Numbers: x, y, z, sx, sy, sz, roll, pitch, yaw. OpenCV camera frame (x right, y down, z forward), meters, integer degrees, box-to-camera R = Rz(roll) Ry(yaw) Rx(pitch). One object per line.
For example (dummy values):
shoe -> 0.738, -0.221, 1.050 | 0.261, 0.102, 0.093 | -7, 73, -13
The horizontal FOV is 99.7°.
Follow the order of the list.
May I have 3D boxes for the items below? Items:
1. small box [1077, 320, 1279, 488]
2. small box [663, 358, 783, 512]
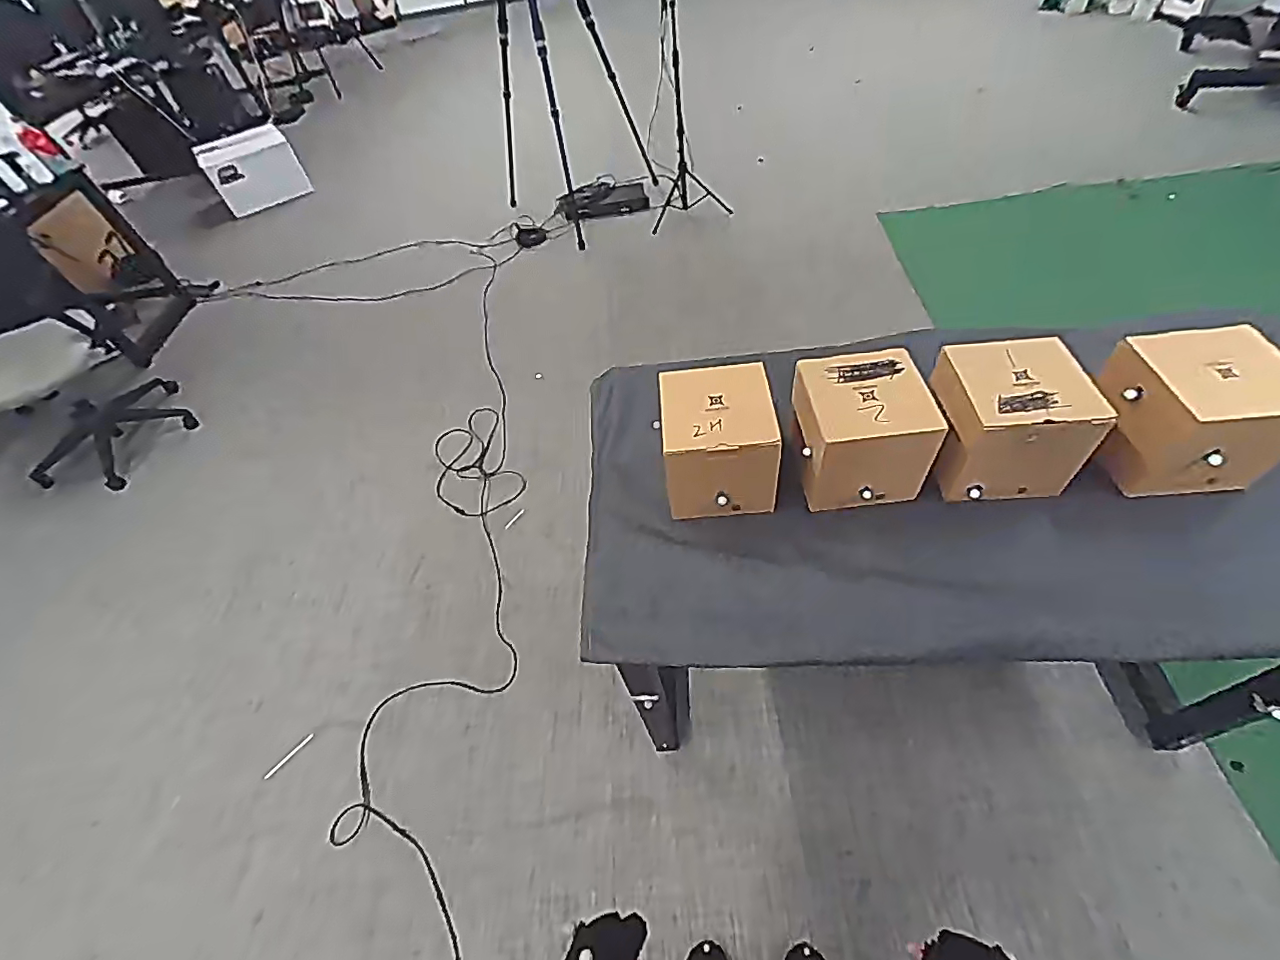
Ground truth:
small box -> 0.791, -0.101, 0.778 | 0.168, 0.176, 0.179 | -5, 51, 6
small box -> 0.125, -0.069, 0.861 | 0.168, 0.176, 0.179 | -5, 52, 5
